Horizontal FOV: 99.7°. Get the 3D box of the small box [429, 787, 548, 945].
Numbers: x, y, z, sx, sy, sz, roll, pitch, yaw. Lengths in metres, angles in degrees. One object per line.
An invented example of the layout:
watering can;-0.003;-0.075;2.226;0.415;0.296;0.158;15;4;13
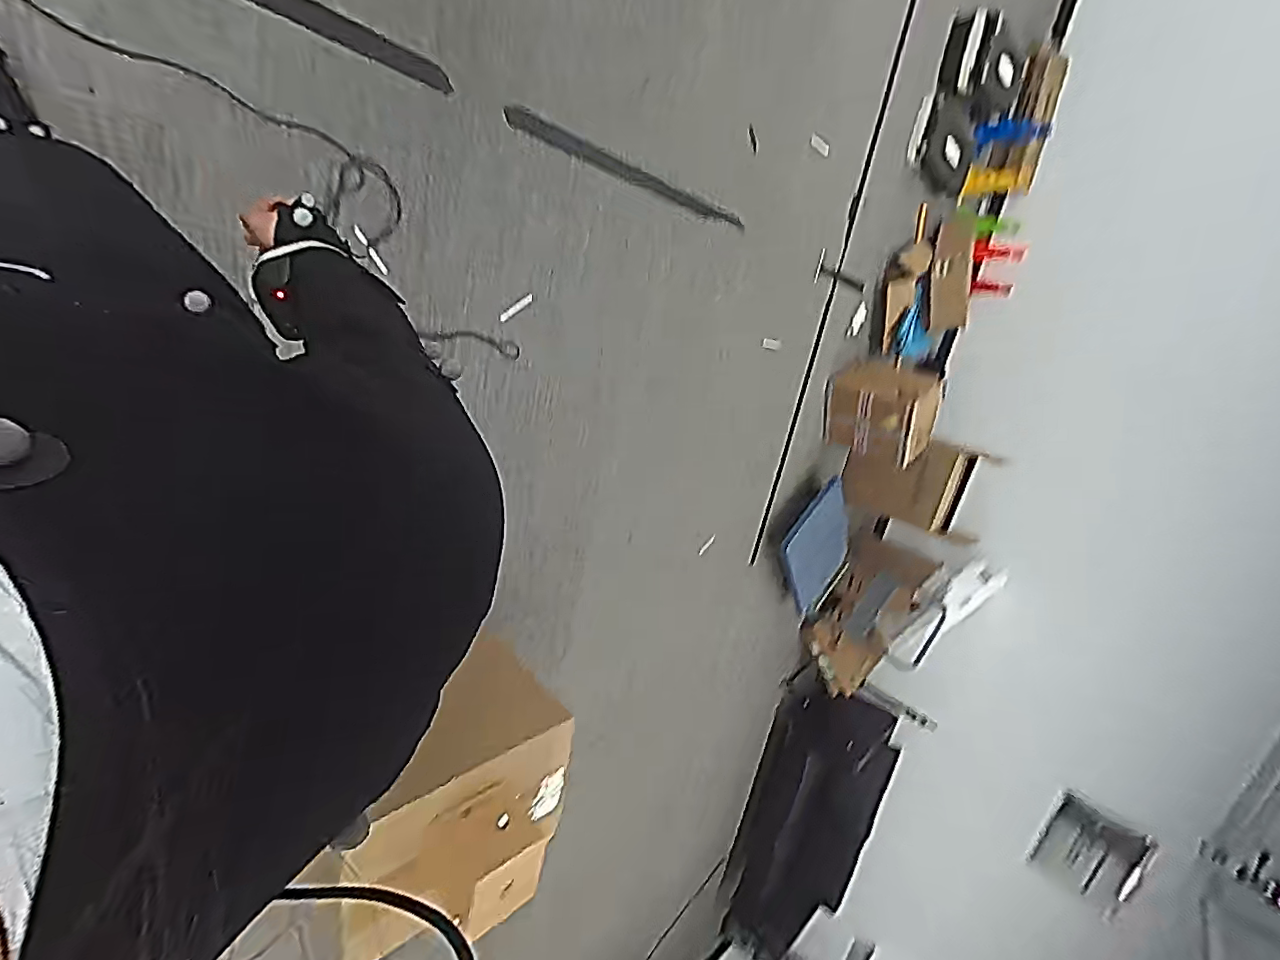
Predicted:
small box;-0.314;0.771;1.109;0.168;0.176;0.179;-6;115;-47
